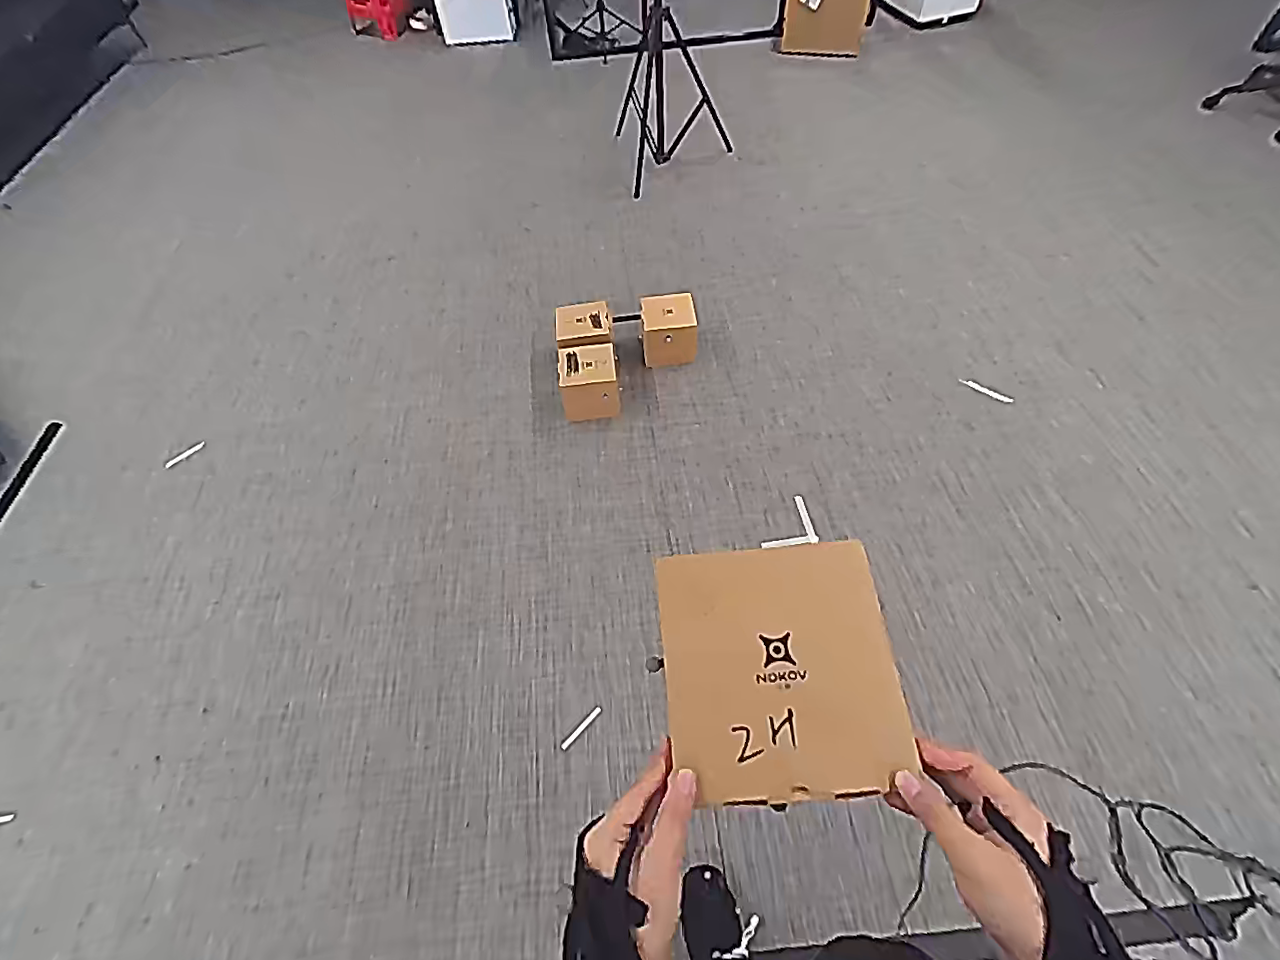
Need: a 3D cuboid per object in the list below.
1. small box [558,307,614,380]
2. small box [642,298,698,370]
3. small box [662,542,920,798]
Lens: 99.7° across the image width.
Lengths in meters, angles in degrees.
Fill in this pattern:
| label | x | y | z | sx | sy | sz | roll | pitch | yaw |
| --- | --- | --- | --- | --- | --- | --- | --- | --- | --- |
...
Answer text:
| label | x | y | z | sx | sy | sz | roll | pitch | yaw |
| --- | --- | --- | --- | --- | --- | --- | --- | --- | --- |
| small box | -0.182 | -0.467 | 1.858 | 0.179 | 0.176 | 0.168 | -7 | 57 | 0 |
| small box | 0.101 | -0.499 | 1.861 | 0.179 | 0.176 | 0.168 | -6 | 57 | 1 |
| small box | 0.107 | 0.169 | 0.471 | 0.168 | 0.176 | 0.179 | -5 | 63 | 3 |
